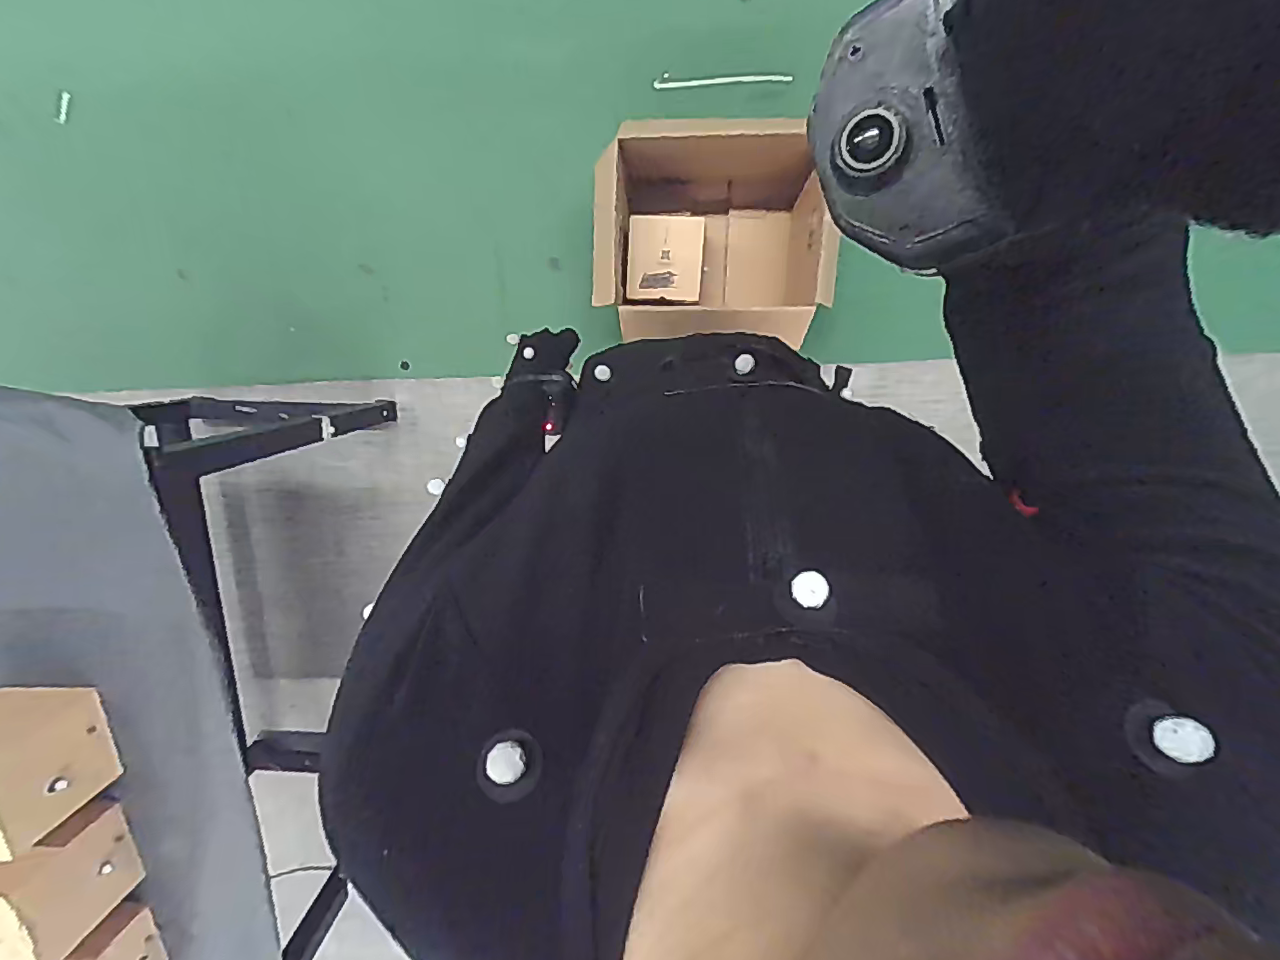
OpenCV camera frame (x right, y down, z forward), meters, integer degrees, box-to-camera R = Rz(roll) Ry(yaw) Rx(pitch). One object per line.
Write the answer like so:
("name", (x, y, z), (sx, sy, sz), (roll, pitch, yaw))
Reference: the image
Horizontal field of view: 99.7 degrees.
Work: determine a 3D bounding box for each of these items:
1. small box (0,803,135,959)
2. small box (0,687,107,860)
("small box", (-0.986, 0.648, 0.867), (0.179, 0.176, 0.168), (-2, 104, 3))
("small box", (-0.965, 0.432, 0.813), (0.179, 0.176, 0.168), (-1, 104, 4))
